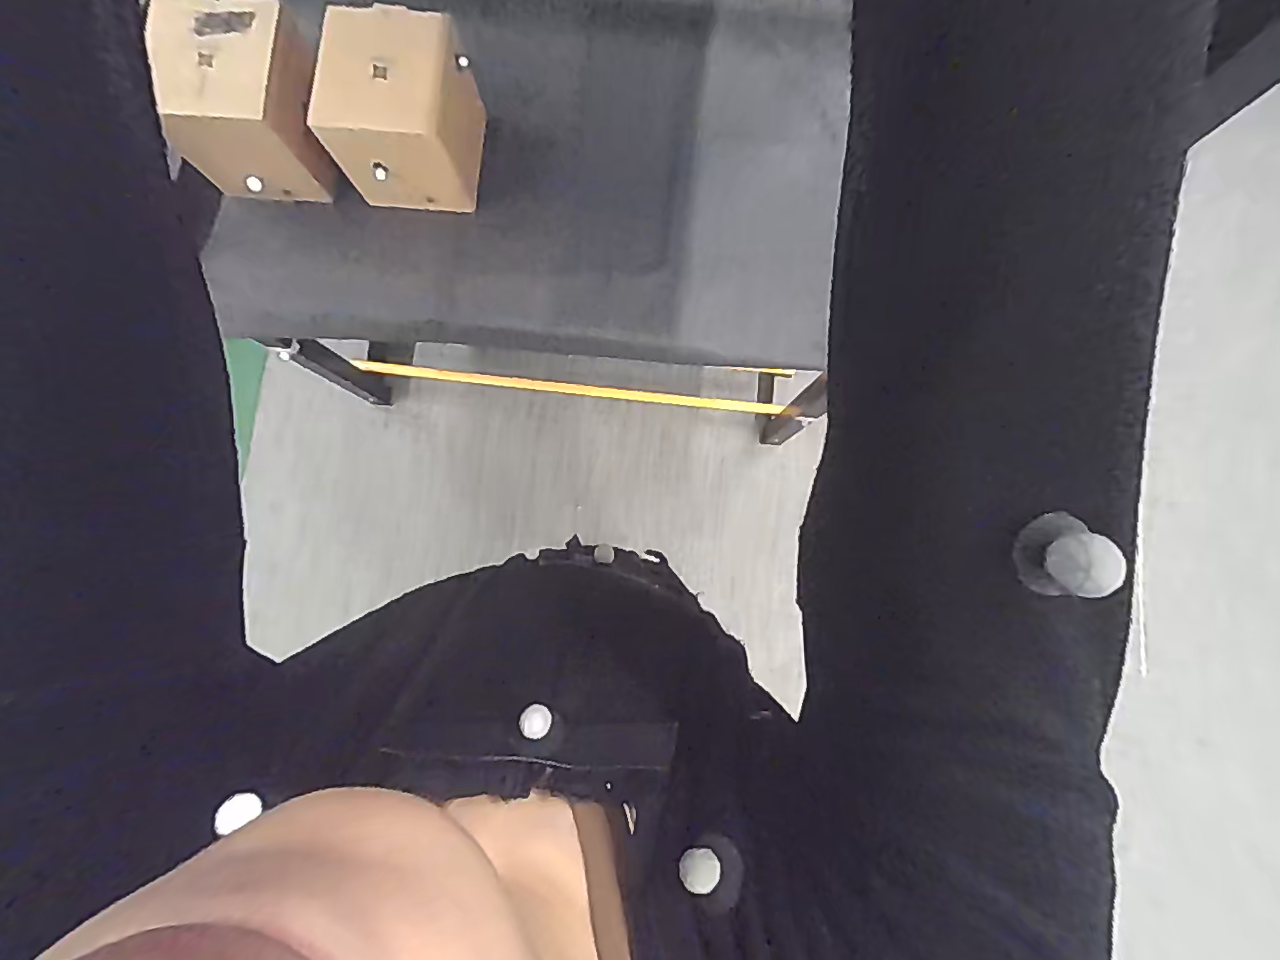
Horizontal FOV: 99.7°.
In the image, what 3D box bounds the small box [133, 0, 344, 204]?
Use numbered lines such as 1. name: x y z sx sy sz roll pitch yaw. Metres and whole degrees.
1. small box: -0.549 -0.528 0.766 0.168 0.176 0.179 3 83 0
